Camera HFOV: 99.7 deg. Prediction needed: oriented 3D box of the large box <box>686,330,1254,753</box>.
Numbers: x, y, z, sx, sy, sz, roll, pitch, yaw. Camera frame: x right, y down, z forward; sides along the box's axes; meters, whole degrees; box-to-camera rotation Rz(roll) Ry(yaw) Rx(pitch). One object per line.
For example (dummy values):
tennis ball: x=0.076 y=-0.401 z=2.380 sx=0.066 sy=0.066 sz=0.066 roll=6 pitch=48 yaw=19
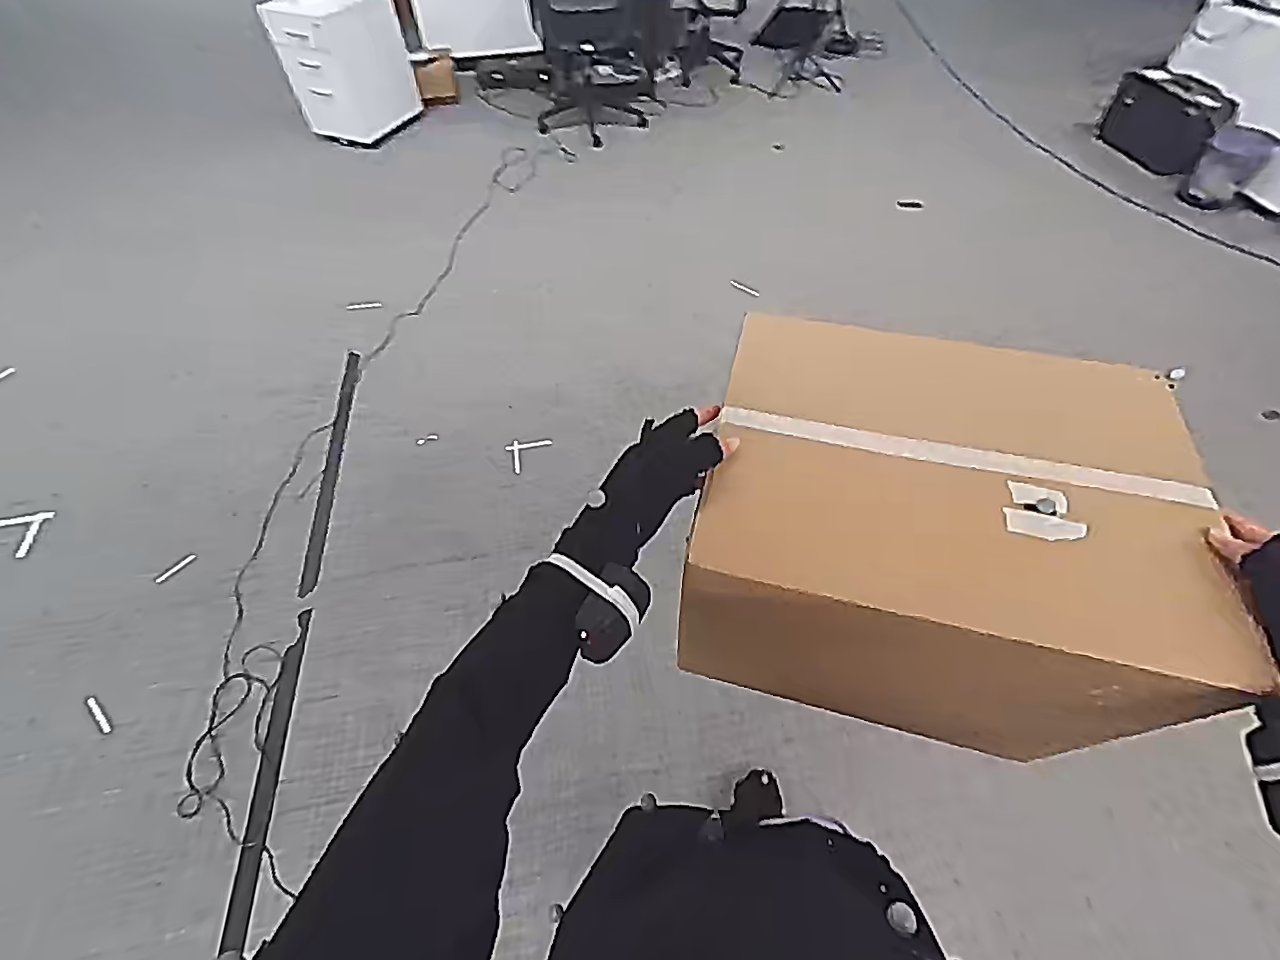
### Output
large box: x=0.280 y=0.074 z=0.612 sx=0.408 sy=0.320 sz=0.320 roll=12 pitch=58 yaw=10
